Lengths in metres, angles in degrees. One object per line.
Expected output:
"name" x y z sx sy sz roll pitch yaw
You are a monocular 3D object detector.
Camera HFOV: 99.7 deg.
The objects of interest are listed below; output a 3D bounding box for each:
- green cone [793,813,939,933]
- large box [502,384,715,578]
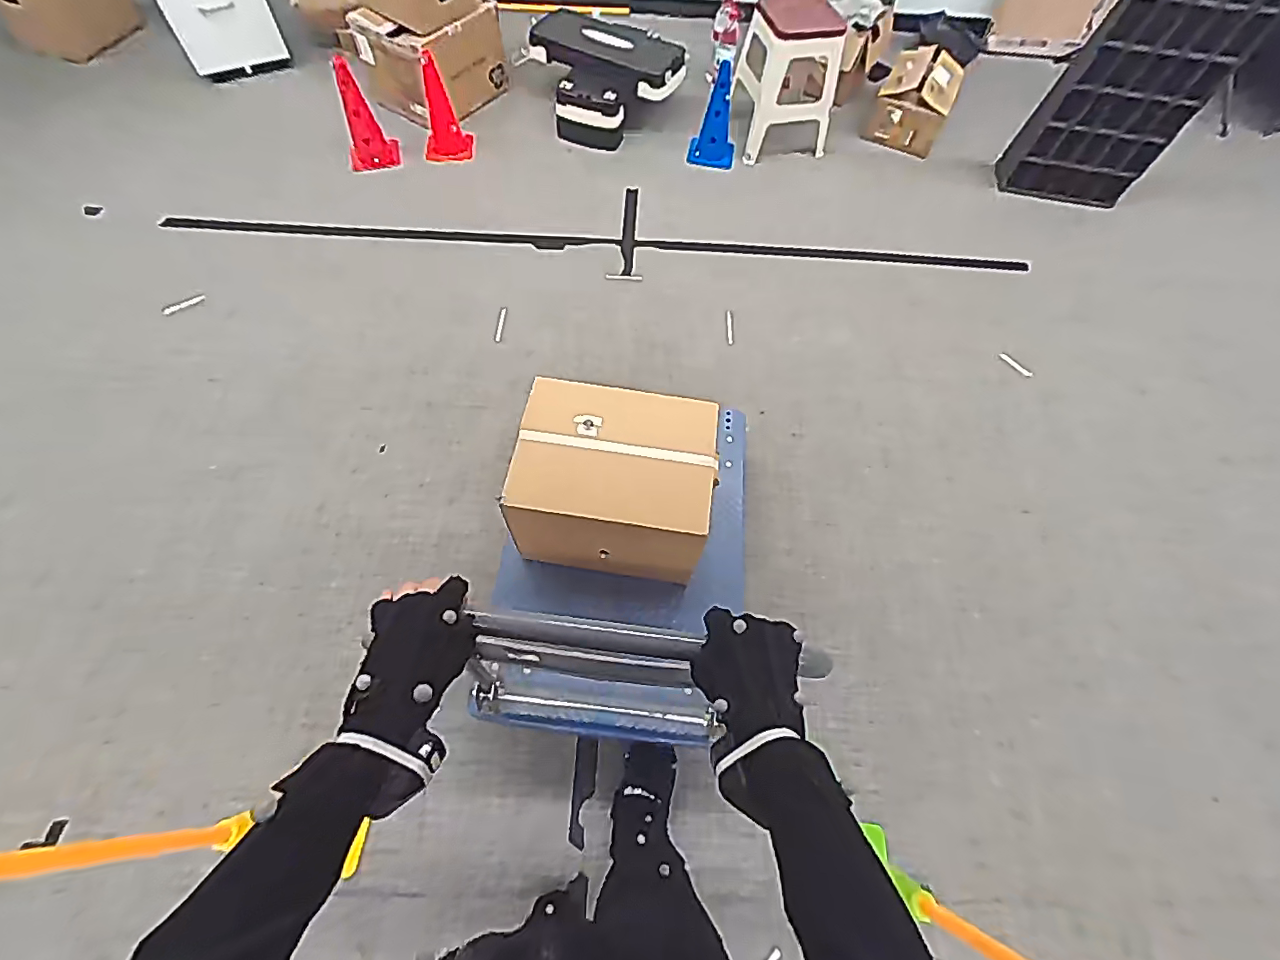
"green cone" 0.446 0.771 1.027 0.202 0.368 0.200 7 62 0
"large box" -0.056 0.016 1.243 0.408 0.320 0.320 8 62 2
